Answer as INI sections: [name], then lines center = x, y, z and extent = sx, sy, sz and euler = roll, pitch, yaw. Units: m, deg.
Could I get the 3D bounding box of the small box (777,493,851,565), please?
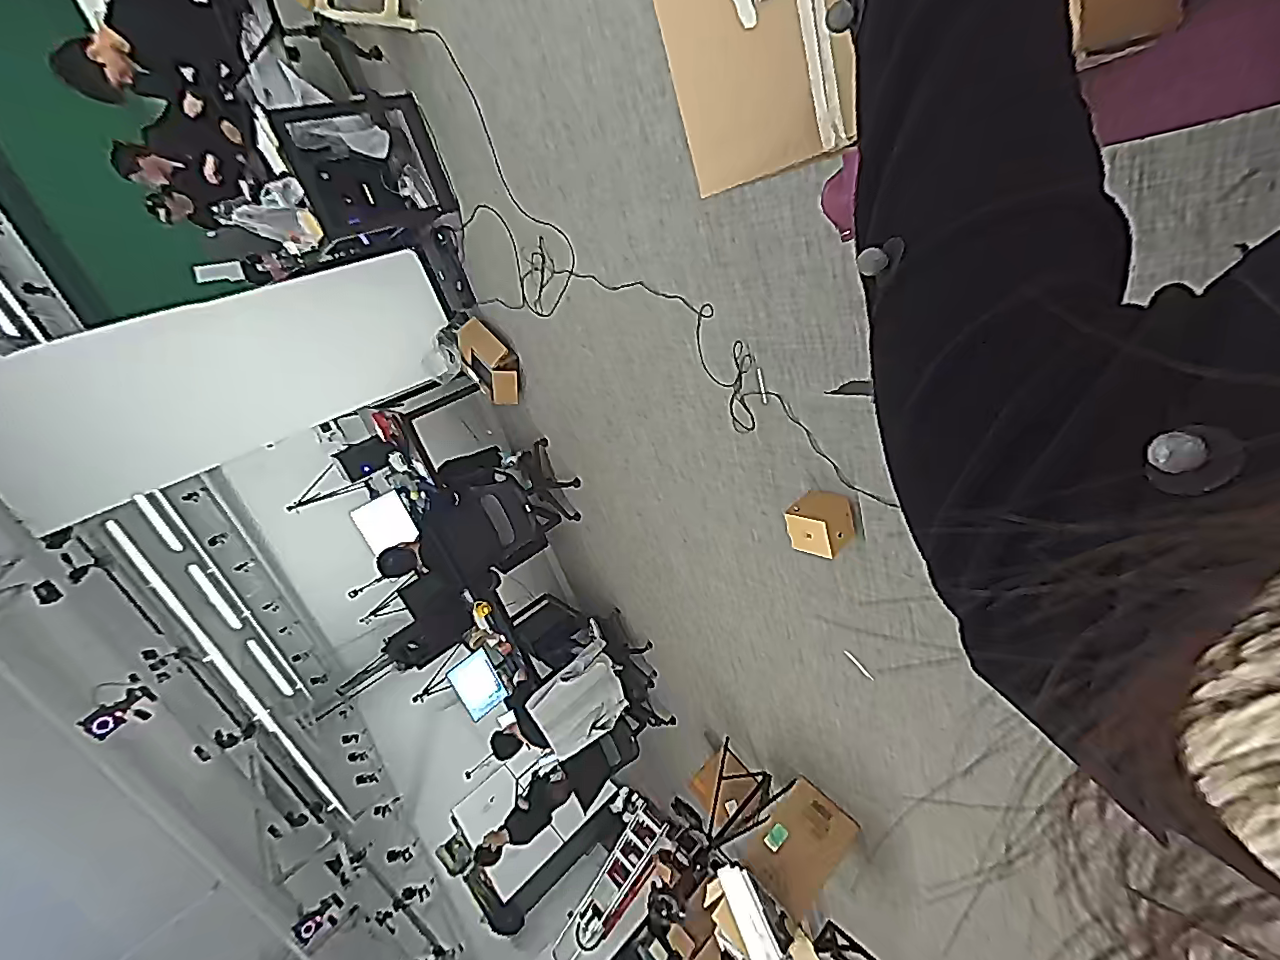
[small box]
center = 0.635, 0.181, 2.000
extent = 0.179, 0.176, 0.168
euler = 50, 175, -26
